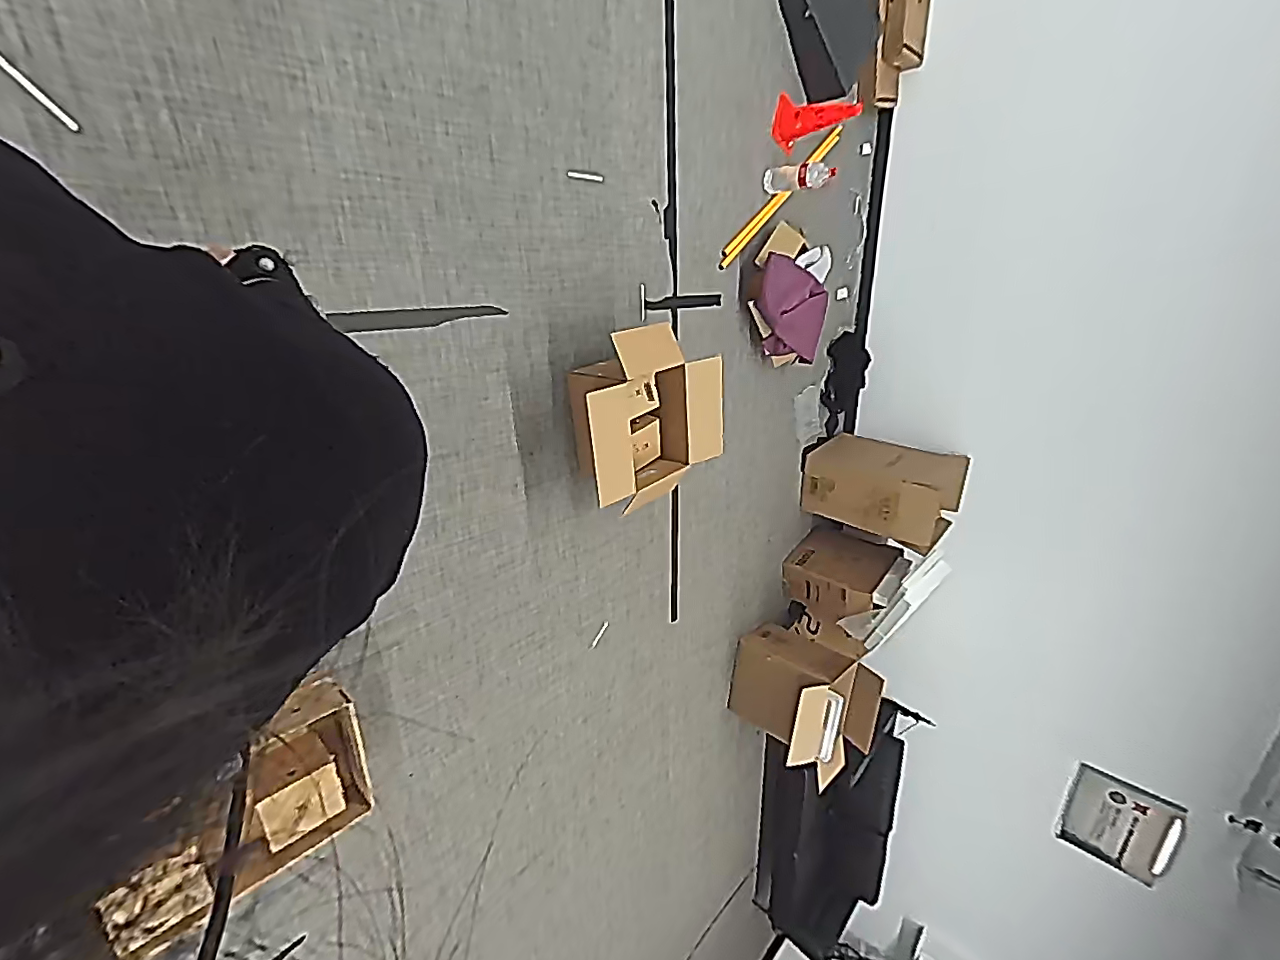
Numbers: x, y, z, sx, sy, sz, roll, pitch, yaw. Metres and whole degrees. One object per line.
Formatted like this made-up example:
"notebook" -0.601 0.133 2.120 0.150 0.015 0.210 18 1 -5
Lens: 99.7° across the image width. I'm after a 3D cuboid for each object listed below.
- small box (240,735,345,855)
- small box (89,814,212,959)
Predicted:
"small box" -0.907 0.810 1.414 0.179 0.176 0.168 -19 115 -42
"small box" -1.105 0.897 1.220 0.168 0.176 0.179 -18 114 -45
